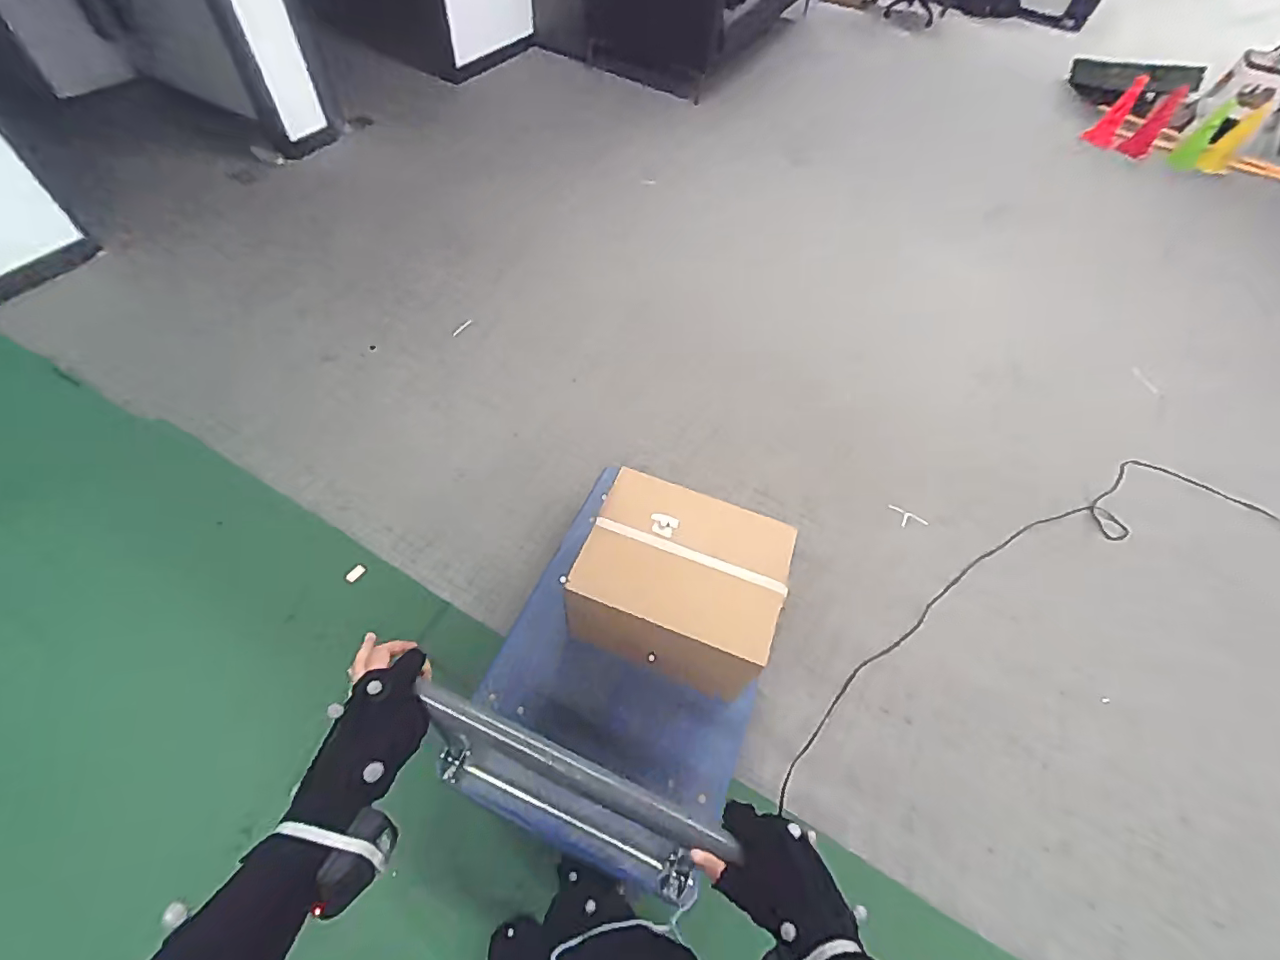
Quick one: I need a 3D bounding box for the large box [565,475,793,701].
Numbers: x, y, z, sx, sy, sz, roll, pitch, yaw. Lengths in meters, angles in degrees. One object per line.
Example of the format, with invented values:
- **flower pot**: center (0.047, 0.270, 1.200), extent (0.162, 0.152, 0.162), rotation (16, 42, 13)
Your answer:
- **large box**: center (0.083, 0.248, 1.215), extent (0.408, 0.320, 0.320), rotation (19, 55, 9)
